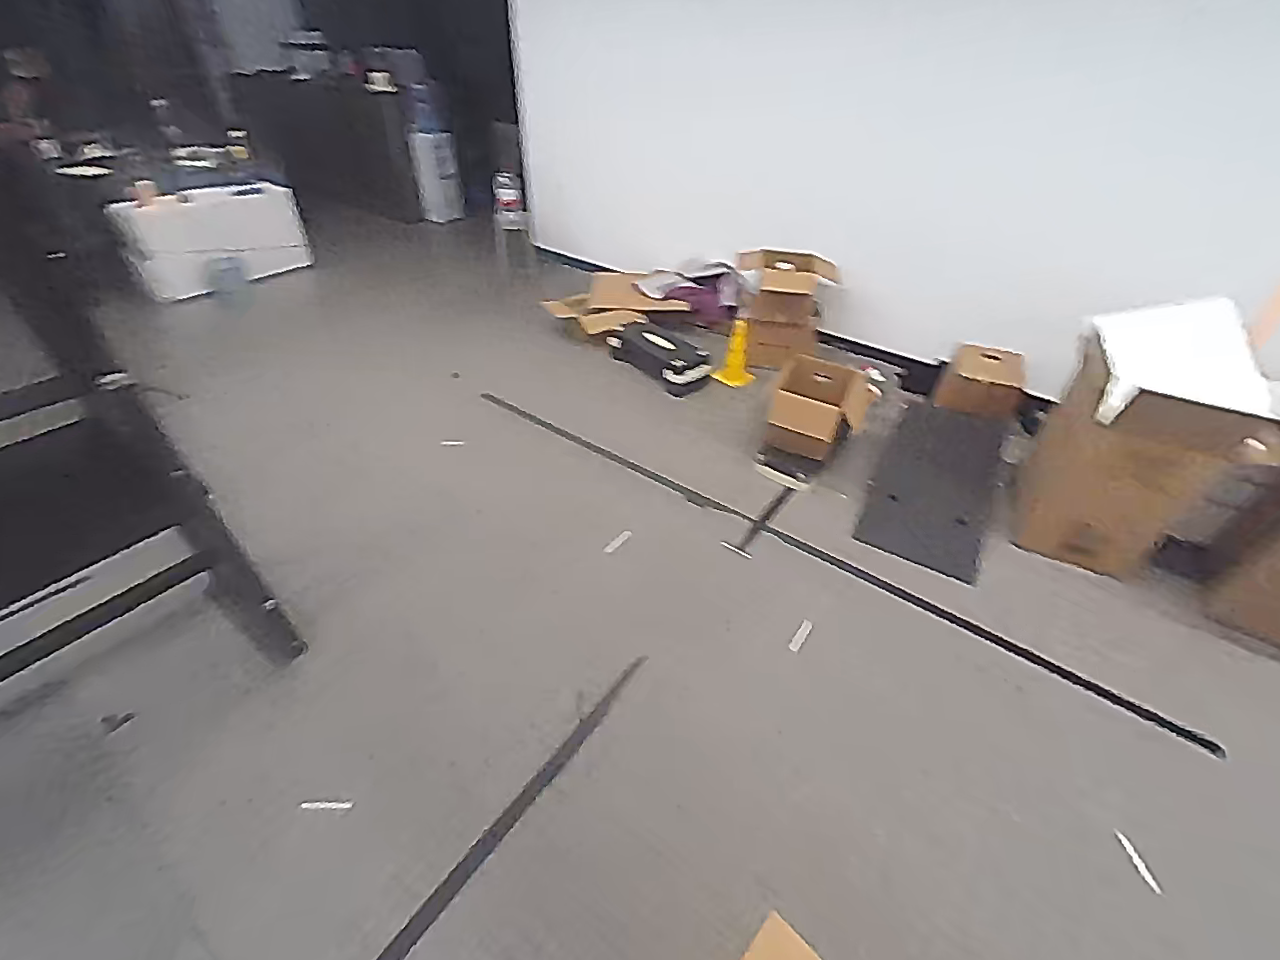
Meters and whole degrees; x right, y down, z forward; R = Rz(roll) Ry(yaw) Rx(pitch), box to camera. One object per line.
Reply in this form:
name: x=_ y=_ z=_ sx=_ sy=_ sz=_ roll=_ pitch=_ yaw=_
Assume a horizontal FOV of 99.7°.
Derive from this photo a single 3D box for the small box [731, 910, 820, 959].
small box: x=0.127 y=0.587 z=0.525 sx=0.168 sy=0.176 sz=0.179 roll=33 pitch=42 yaw=31
